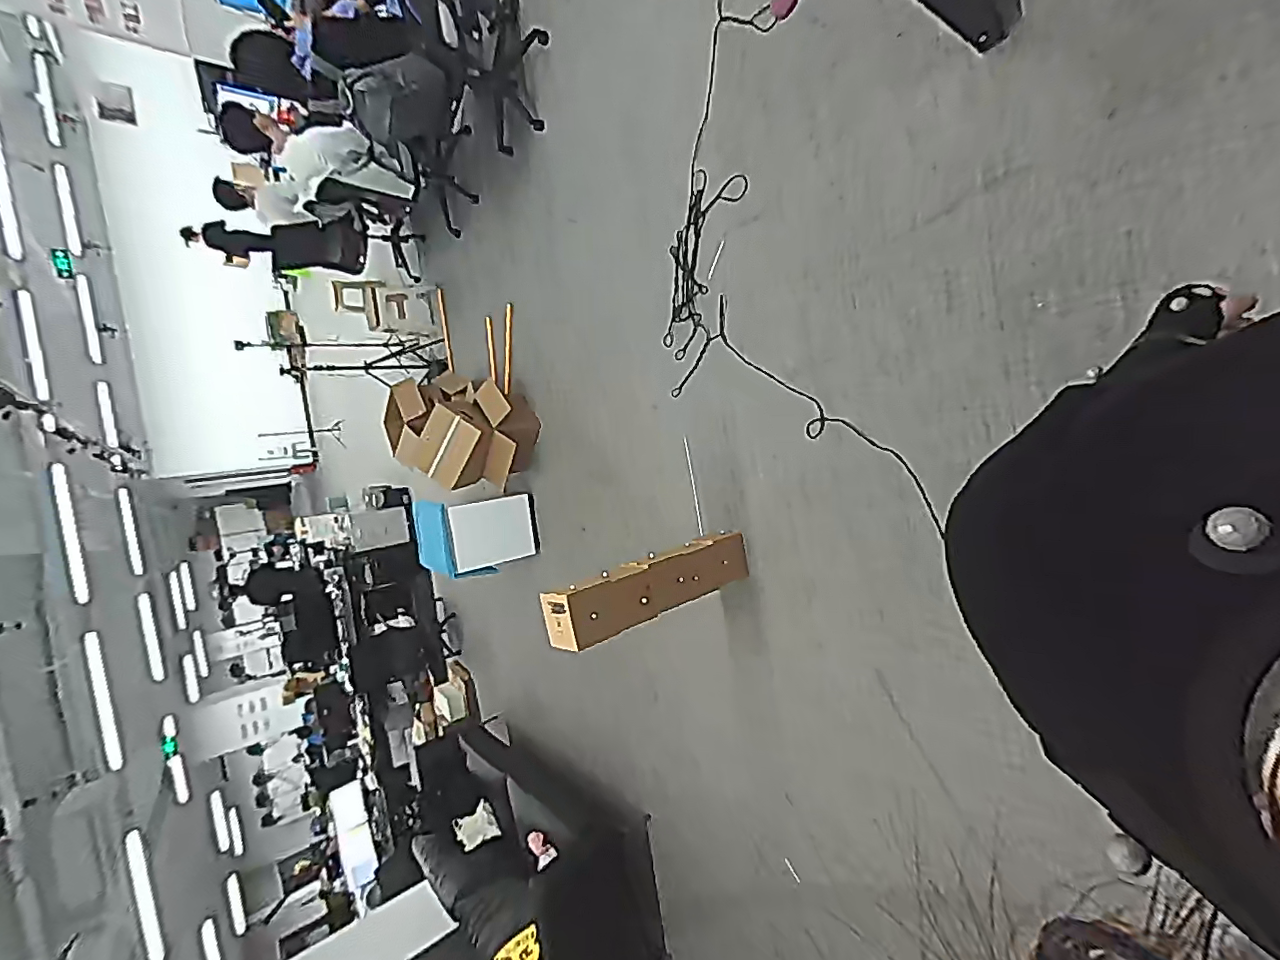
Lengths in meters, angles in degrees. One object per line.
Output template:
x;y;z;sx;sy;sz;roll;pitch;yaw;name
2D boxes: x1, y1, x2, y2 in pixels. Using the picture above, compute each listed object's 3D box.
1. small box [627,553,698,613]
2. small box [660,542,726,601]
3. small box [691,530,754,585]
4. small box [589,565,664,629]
0.081;0.356;1.910;0.168;0.176;0.179;-11;90;53;small box
0.201;0.336;2.020;0.168;0.176;0.179;-8;93;52;small box
0.328;0.301;2.117;0.168;0.176;0.179;-8;92;53;small box
-0.044;0.386;1.810;0.179;0.176;0.168;-11;91;52;small box
